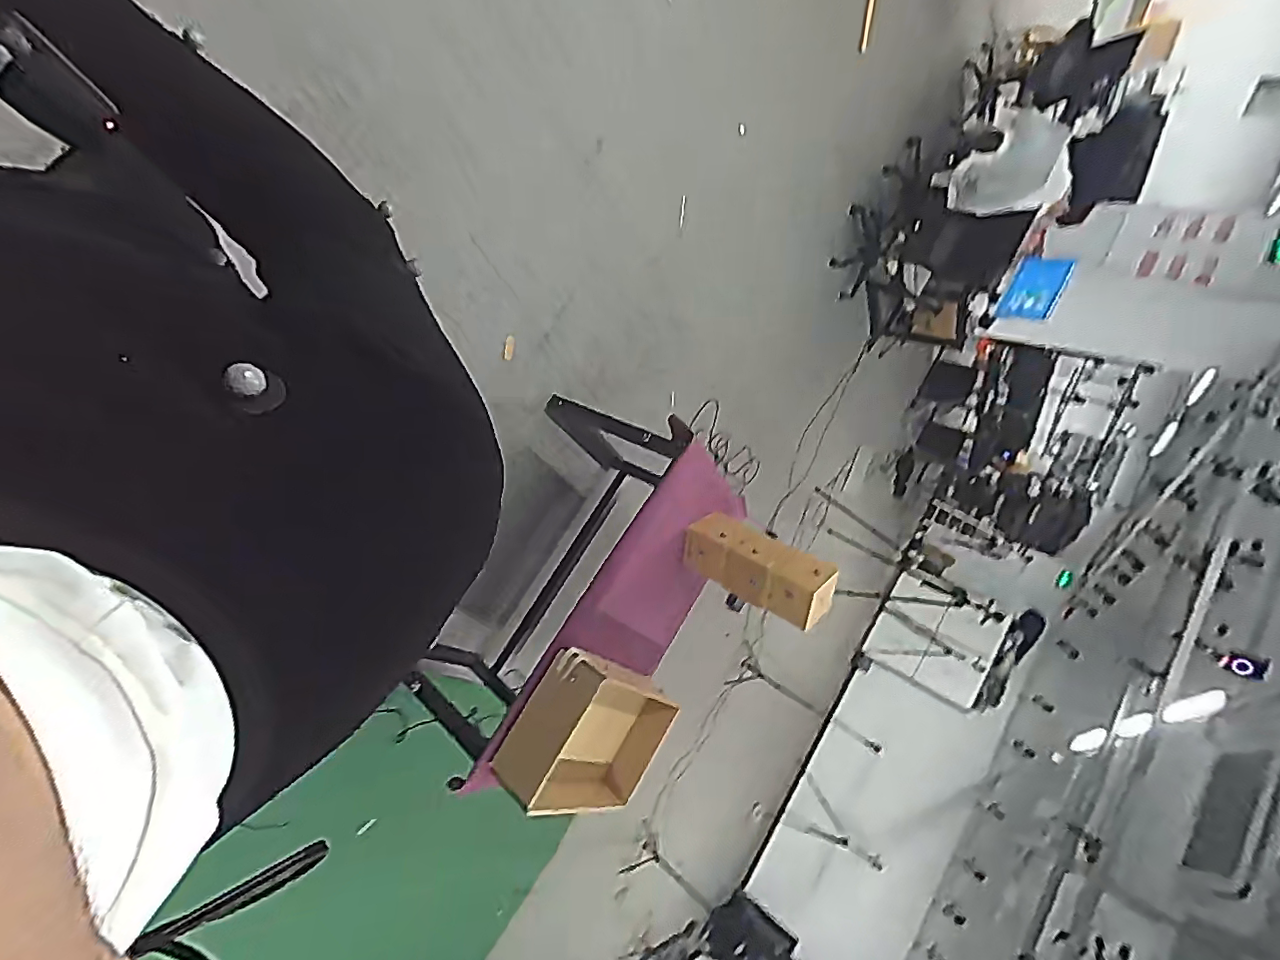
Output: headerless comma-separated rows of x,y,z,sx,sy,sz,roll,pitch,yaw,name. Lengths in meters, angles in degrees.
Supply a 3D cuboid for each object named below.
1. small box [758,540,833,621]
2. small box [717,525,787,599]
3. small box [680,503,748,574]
0.507,0.326,1.782,0.179,0.176,0.168,-27,130,-41,small box
0.384,0.272,1.872,0.168,0.176,0.179,-24,129,-42,small box
0.265,0.208,1.962,0.179,0.176,0.168,-25,130,-42,small box
